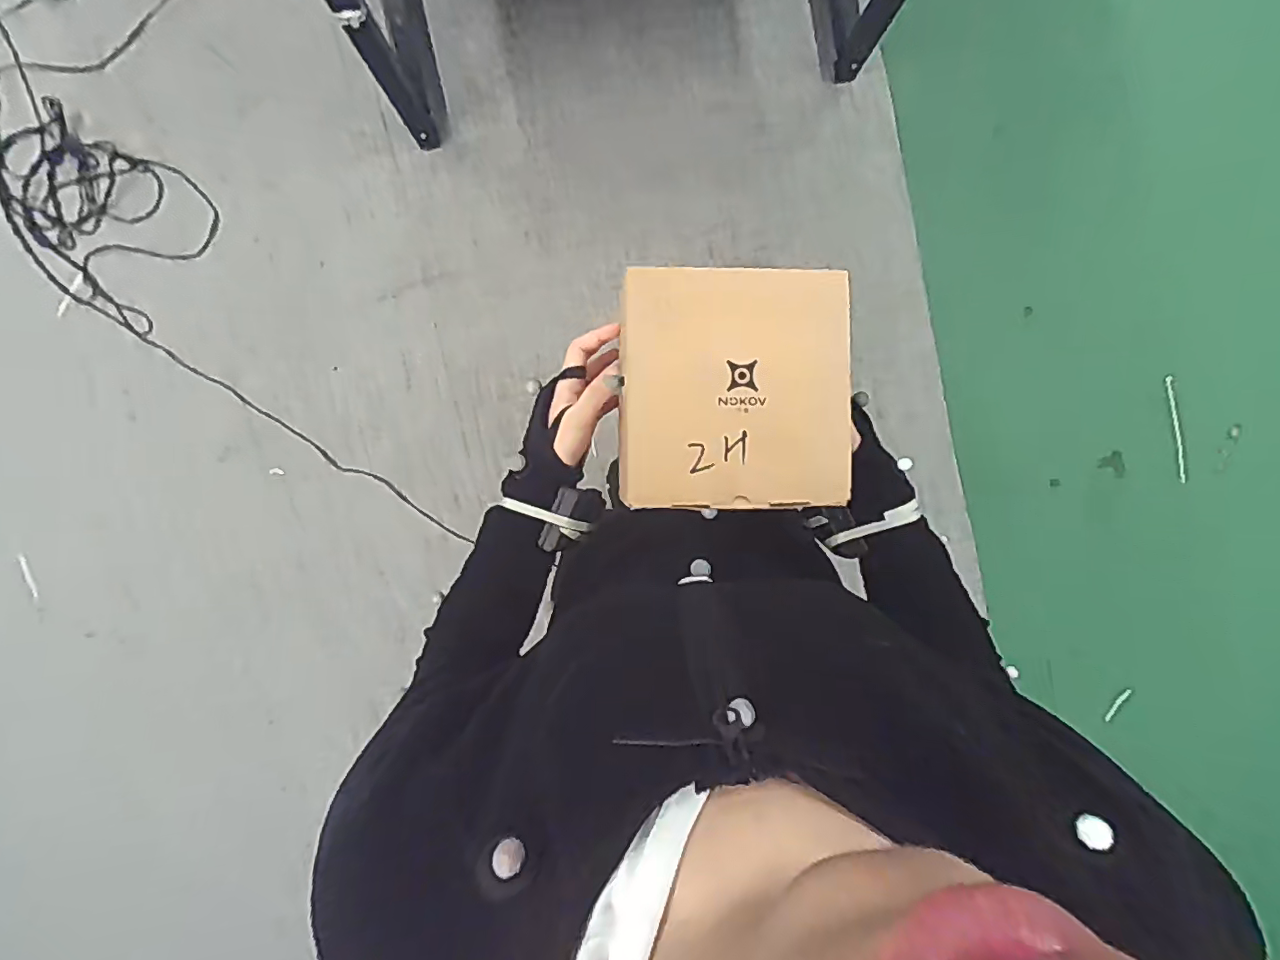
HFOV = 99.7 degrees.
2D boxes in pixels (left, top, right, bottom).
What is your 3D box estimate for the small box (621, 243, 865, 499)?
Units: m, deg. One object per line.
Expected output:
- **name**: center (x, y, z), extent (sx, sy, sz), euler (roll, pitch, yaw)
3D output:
- **small box**: center (0.070, -0.073, 0.454), extent (0.168, 0.176, 0.179), euler (0, 89, -4)
